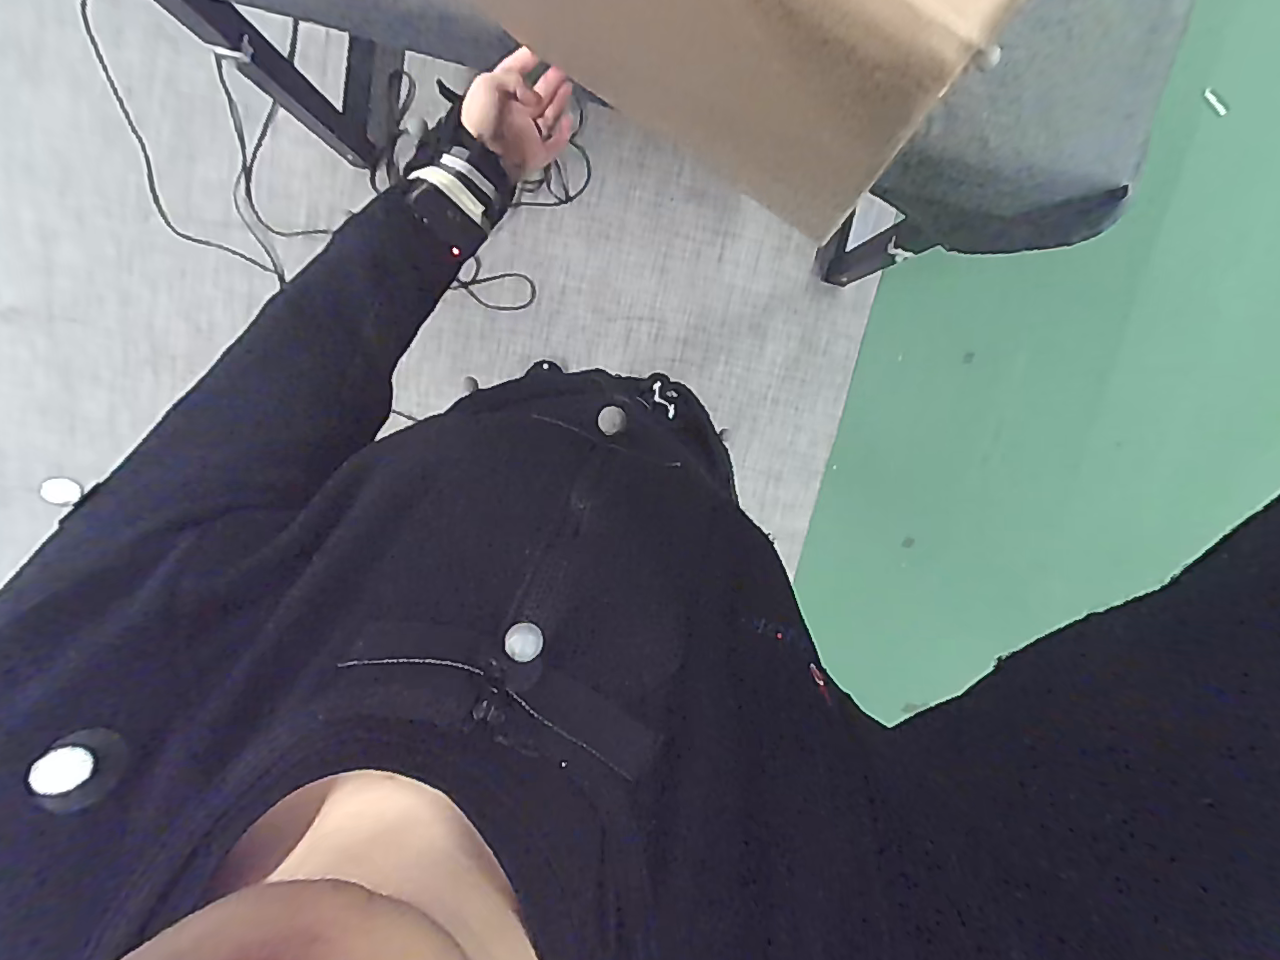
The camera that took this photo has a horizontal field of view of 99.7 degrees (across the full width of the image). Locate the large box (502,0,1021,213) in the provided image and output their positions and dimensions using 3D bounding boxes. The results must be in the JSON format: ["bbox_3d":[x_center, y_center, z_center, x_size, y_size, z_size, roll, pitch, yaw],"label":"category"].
[{"bbox_3d":[0.061,-0.359,0.234,0.320,0.408,0.320,33,114,0],"label":"large box"}]
